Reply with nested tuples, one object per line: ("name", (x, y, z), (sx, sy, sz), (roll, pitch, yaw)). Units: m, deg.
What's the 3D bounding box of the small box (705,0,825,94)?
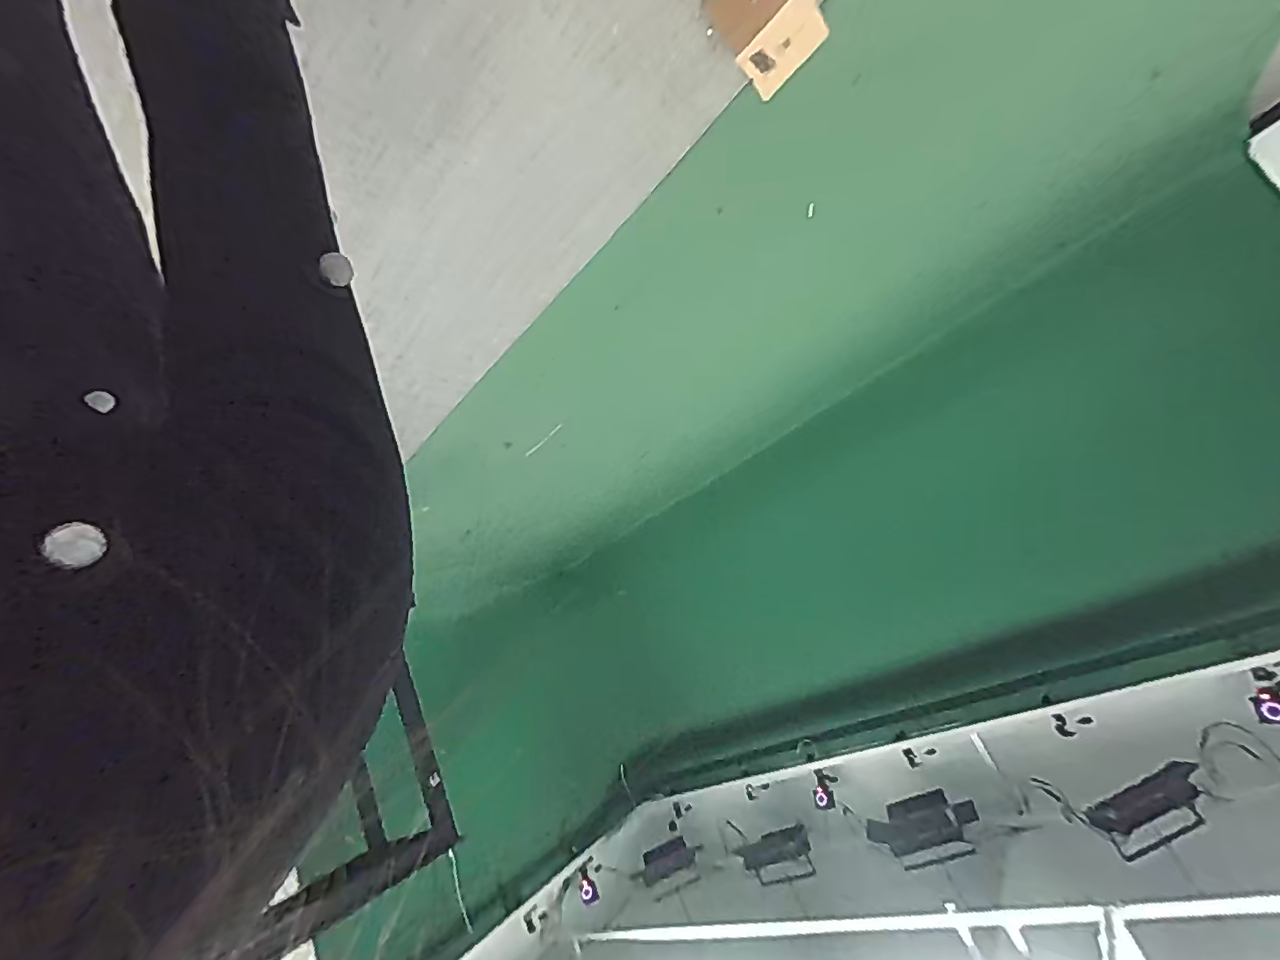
("small box", (0.263, -1.008, 1.171), (0.179, 0.176, 0.168), (-35, 162, 31))
